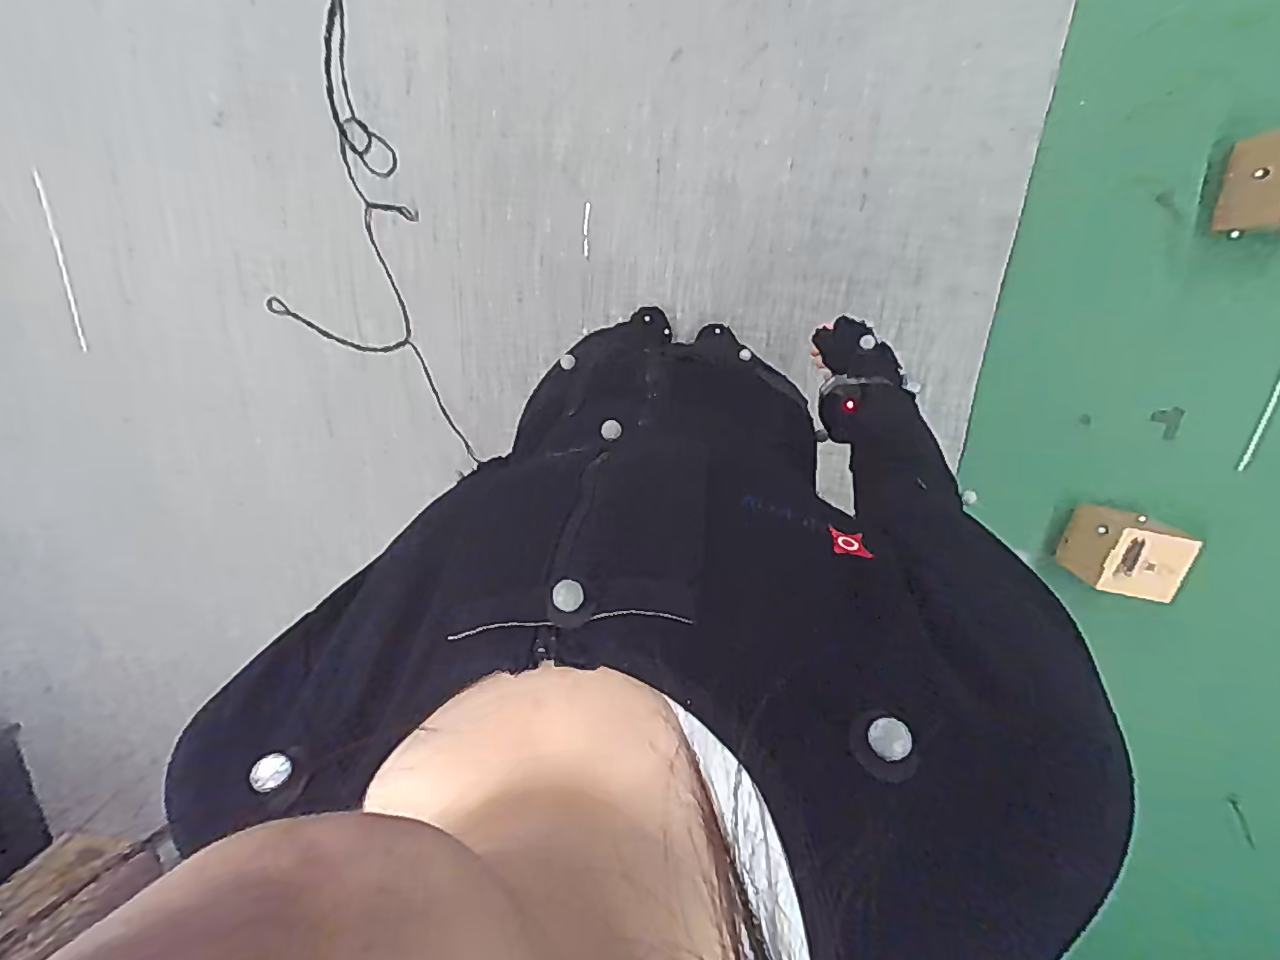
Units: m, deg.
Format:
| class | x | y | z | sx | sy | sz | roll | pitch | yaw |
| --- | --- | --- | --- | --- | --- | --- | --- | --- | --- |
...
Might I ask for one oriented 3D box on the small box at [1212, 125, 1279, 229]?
| class | x | y | z | sx | sy | sz | roll | pitch | yaw |
| --- | --- | --- | --- | --- | --- | --- | --- | --- | --- |
| small box | 1.305 | -0.599 | 1.065 | 0.168 | 0.176 | 0.179 | 3 | 107 | 6 |
